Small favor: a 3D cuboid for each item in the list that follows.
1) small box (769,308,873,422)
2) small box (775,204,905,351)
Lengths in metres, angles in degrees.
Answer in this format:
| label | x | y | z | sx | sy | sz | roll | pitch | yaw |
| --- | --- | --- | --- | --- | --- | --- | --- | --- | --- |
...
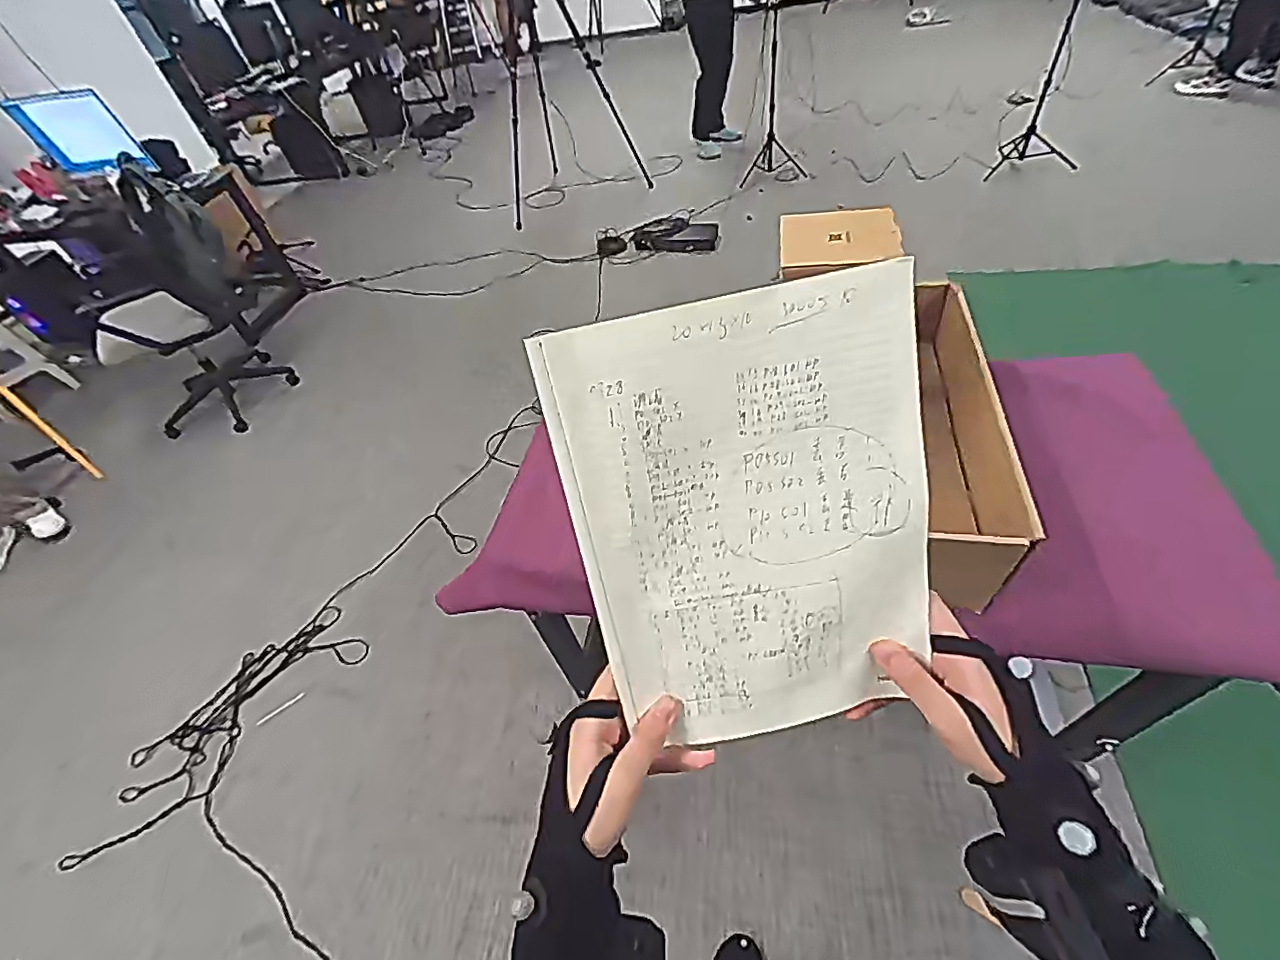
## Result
| label | x | y | z | sx | sy | sz | roll | pitch | yaw |
| --- | --- | --- | --- | --- | --- | --- | --- | --- | --- |
| small box | 0.332 | -0.224 | 1.010 | 0.168 | 0.176 | 0.179 | 4 | 52 | 14 |
| small box | 0.313 | -0.325 | 0.885 | 0.179 | 0.176 | 0.168 | 2 | 51 | 12 |
